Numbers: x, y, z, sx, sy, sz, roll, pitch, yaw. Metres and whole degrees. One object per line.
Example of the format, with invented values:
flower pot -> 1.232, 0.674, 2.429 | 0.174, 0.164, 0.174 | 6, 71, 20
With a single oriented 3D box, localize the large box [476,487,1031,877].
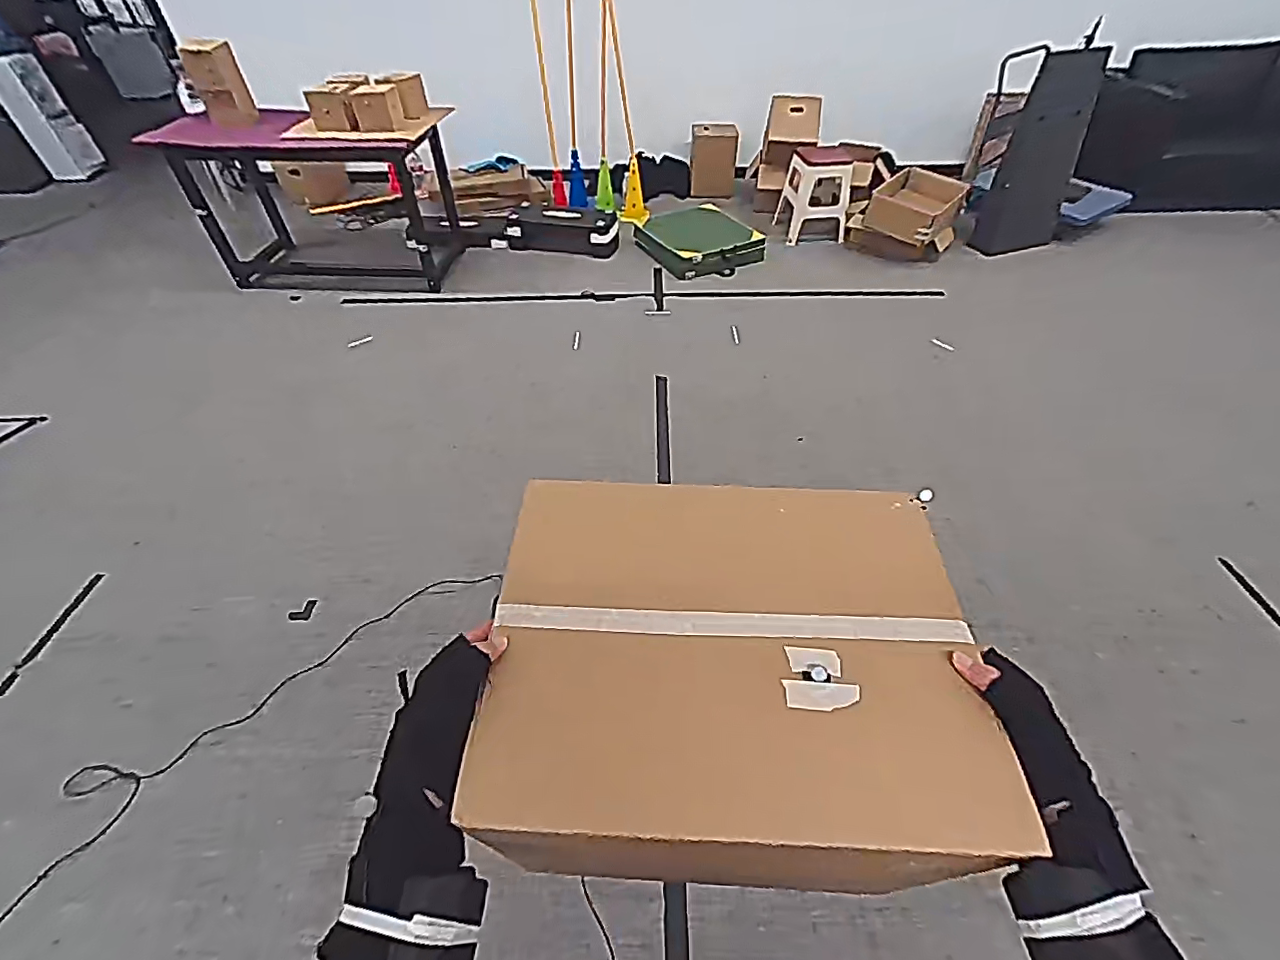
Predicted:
large box -> 0.081, 0.225, 0.589 | 0.408, 0.320, 0.320 | 2, 50, 2
